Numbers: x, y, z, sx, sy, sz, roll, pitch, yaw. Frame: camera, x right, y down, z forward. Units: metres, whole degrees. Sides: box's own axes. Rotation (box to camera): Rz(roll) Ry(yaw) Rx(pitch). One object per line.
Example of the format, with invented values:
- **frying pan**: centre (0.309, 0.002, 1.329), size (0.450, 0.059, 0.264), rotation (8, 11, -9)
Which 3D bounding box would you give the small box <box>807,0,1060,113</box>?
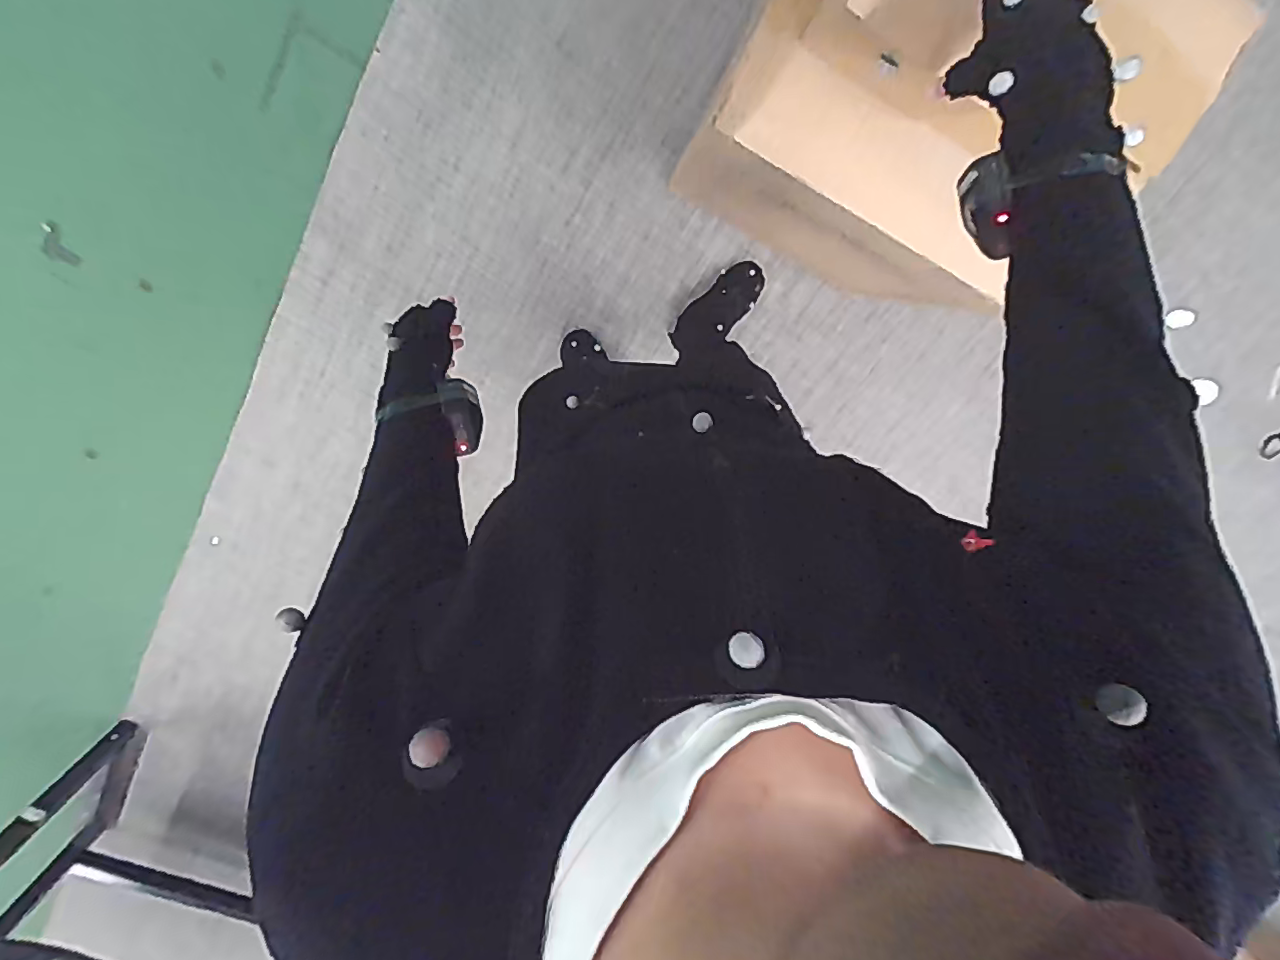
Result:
- **small box**: centre (0.294, -0.493, 0.535), size (0.179, 0.176, 0.168), rotation (24, 118, -12)
